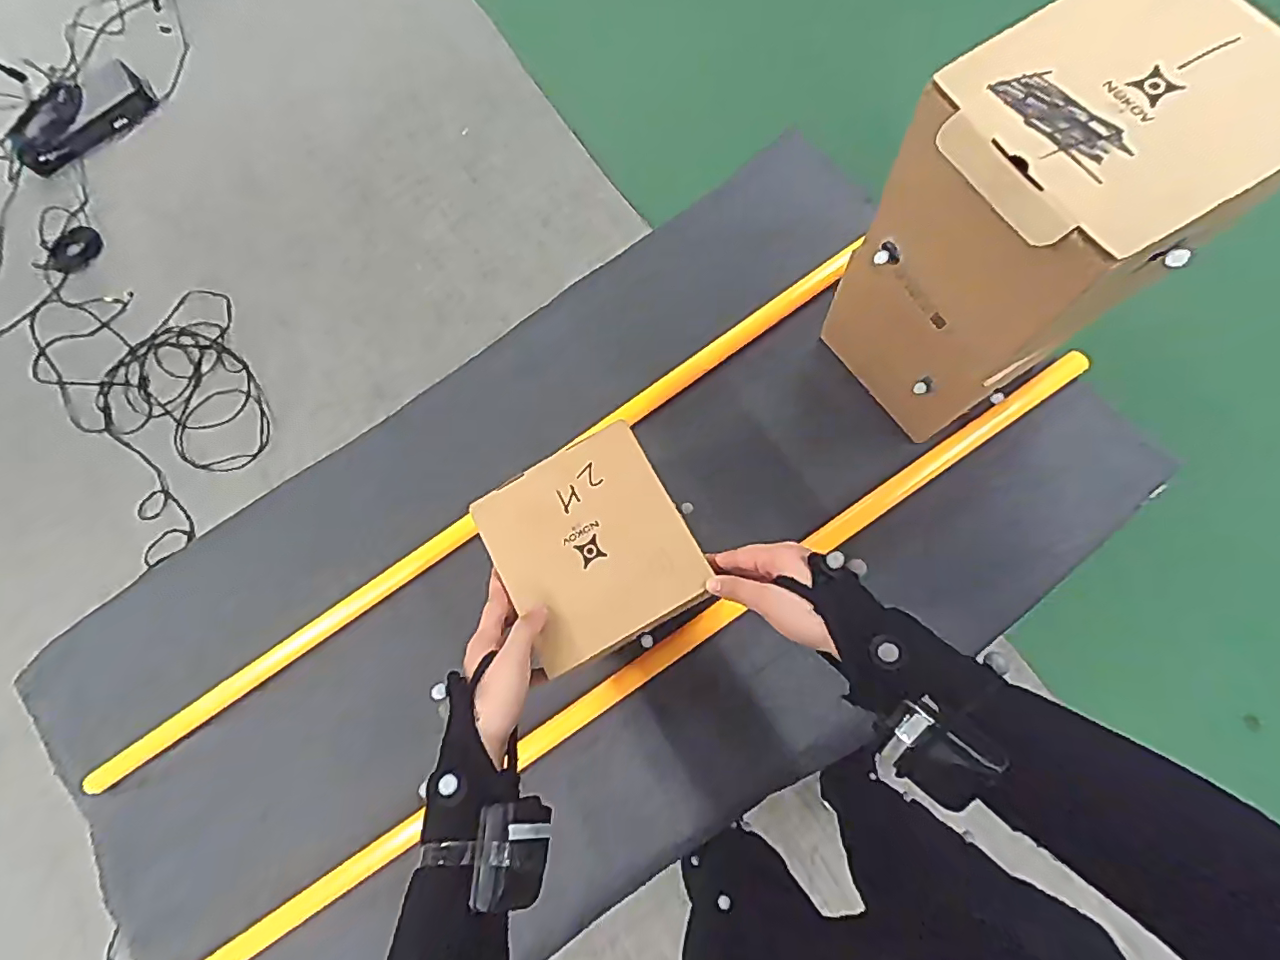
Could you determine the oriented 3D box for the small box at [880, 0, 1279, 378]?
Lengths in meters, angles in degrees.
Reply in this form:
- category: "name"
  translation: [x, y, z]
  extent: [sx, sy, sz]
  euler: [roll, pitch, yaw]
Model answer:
- category: "small box"
  translation: [0.304, -0.204, 0.395]
  extent: [0.179, 0.176, 0.168]
  euler: [-30, 75, -1]
